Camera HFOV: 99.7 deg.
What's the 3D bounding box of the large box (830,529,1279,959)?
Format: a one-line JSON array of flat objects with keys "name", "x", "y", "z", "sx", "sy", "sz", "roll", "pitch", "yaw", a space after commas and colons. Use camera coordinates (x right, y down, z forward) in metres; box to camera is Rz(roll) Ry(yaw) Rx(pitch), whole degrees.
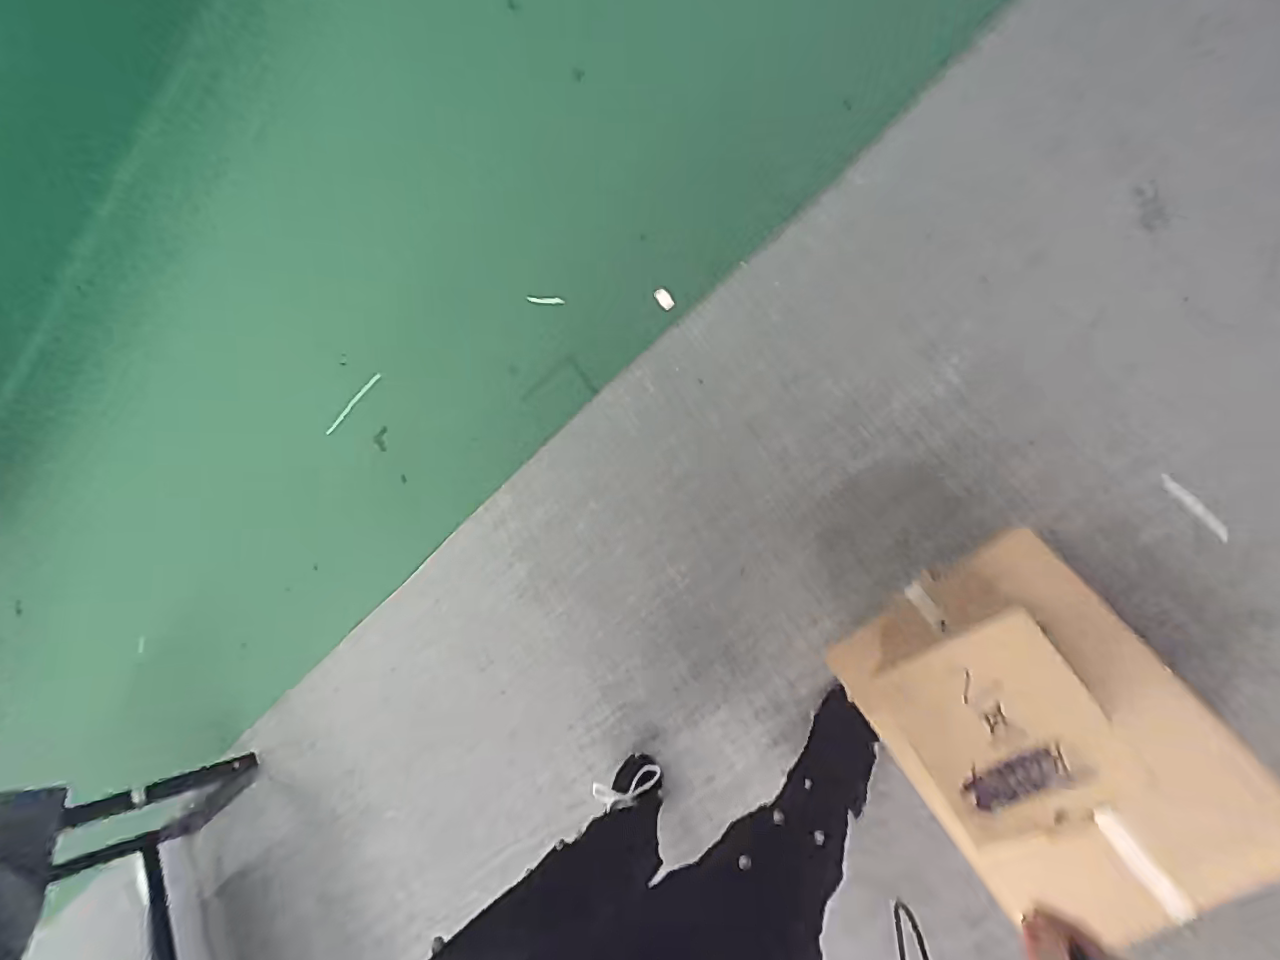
[{"name": "large box", "x": 0.543, "y": 0.320, "z": 0.778, "sx": 0.320, "sy": 0.320, "sz": 0.408, "roll": -41, "pitch": 68, "yaw": 18}]
